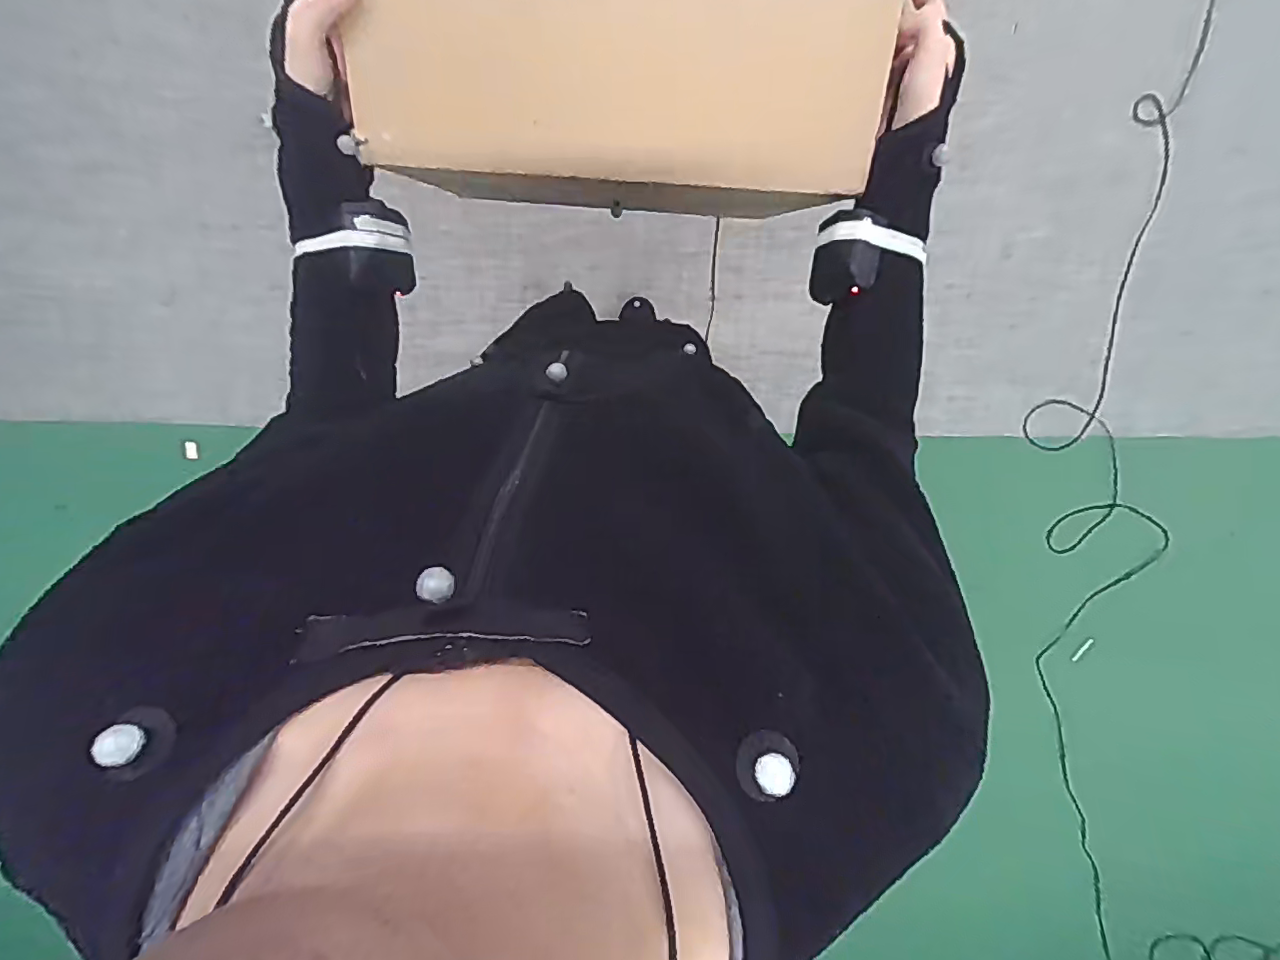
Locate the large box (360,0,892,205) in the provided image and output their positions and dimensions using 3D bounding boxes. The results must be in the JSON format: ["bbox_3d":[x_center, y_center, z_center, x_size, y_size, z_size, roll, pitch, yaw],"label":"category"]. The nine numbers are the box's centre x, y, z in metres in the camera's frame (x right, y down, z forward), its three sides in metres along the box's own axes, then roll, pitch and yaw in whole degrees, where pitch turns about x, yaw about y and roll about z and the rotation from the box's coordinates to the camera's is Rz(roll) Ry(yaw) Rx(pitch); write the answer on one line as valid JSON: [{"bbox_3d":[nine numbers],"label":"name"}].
[{"bbox_3d":[-0.009,-0.452,0.524,0.408,0.320,0.320,2,112,-4],"label":"large box"}]
